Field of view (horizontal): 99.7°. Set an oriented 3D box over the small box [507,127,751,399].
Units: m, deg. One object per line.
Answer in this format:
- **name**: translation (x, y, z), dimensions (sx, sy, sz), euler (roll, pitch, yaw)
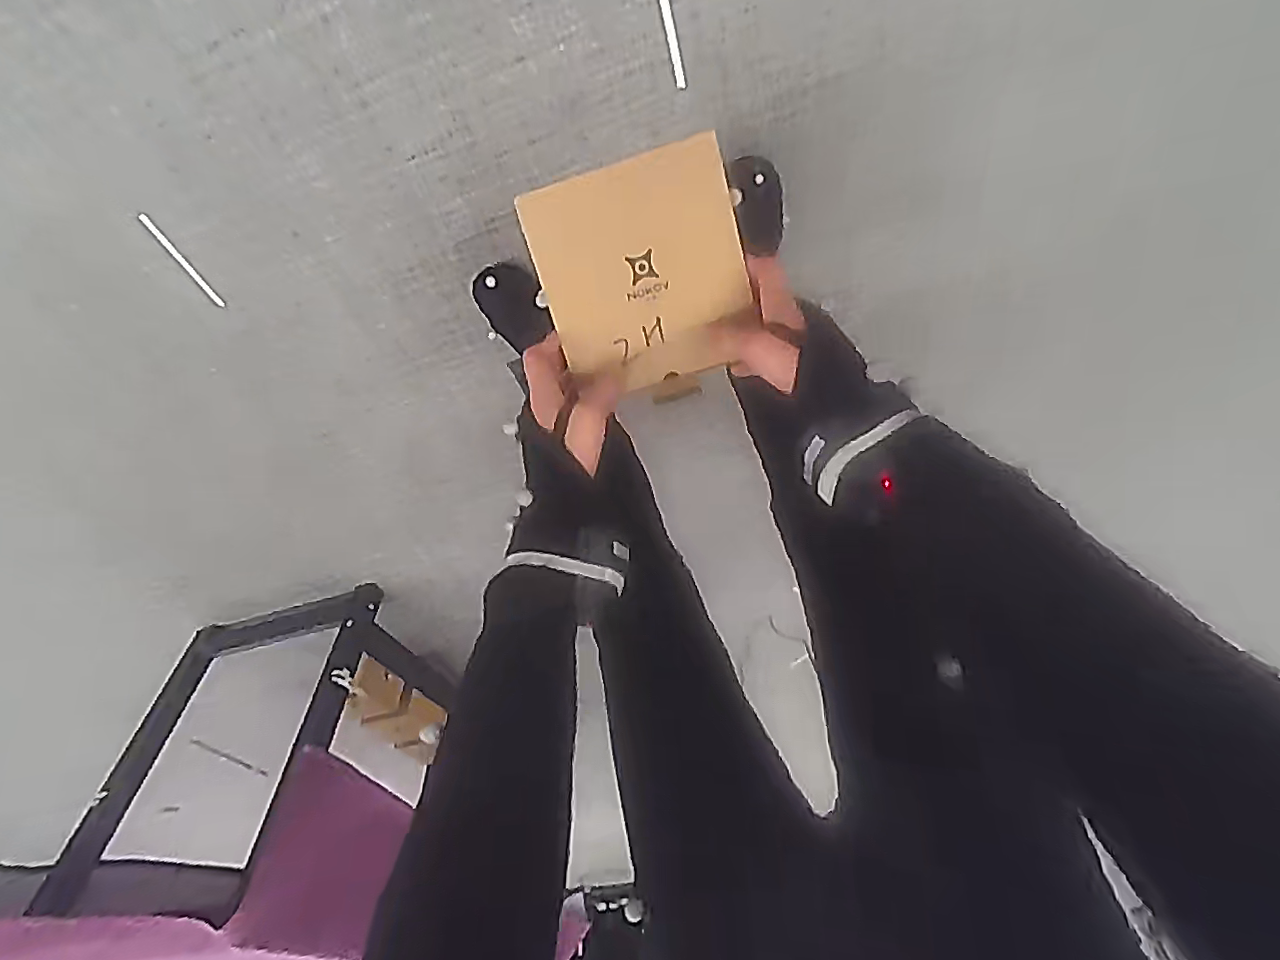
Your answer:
- **small box**: translation (-0.006, -0.195, 0.514), dimensions (0.168, 0.176, 0.179), euler (-15, 110, 5)
